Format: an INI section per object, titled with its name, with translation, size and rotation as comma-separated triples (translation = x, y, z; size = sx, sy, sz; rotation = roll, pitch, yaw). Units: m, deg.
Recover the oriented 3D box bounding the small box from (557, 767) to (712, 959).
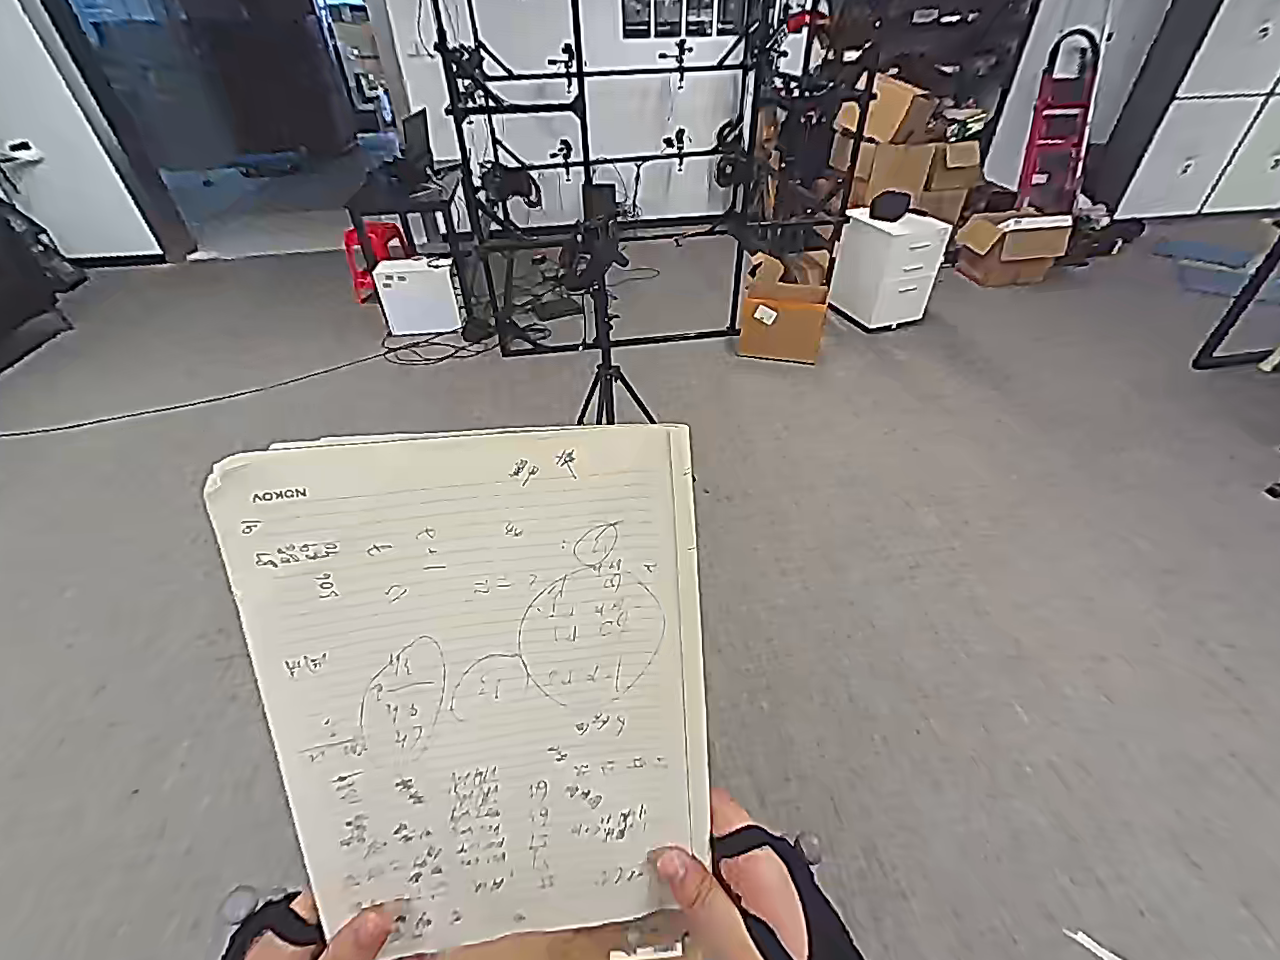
[small box]
translation = -0.011, 0.484, 0.676
size = 0.168, 0.176, 0.179
rotation = 0, 42, -3
